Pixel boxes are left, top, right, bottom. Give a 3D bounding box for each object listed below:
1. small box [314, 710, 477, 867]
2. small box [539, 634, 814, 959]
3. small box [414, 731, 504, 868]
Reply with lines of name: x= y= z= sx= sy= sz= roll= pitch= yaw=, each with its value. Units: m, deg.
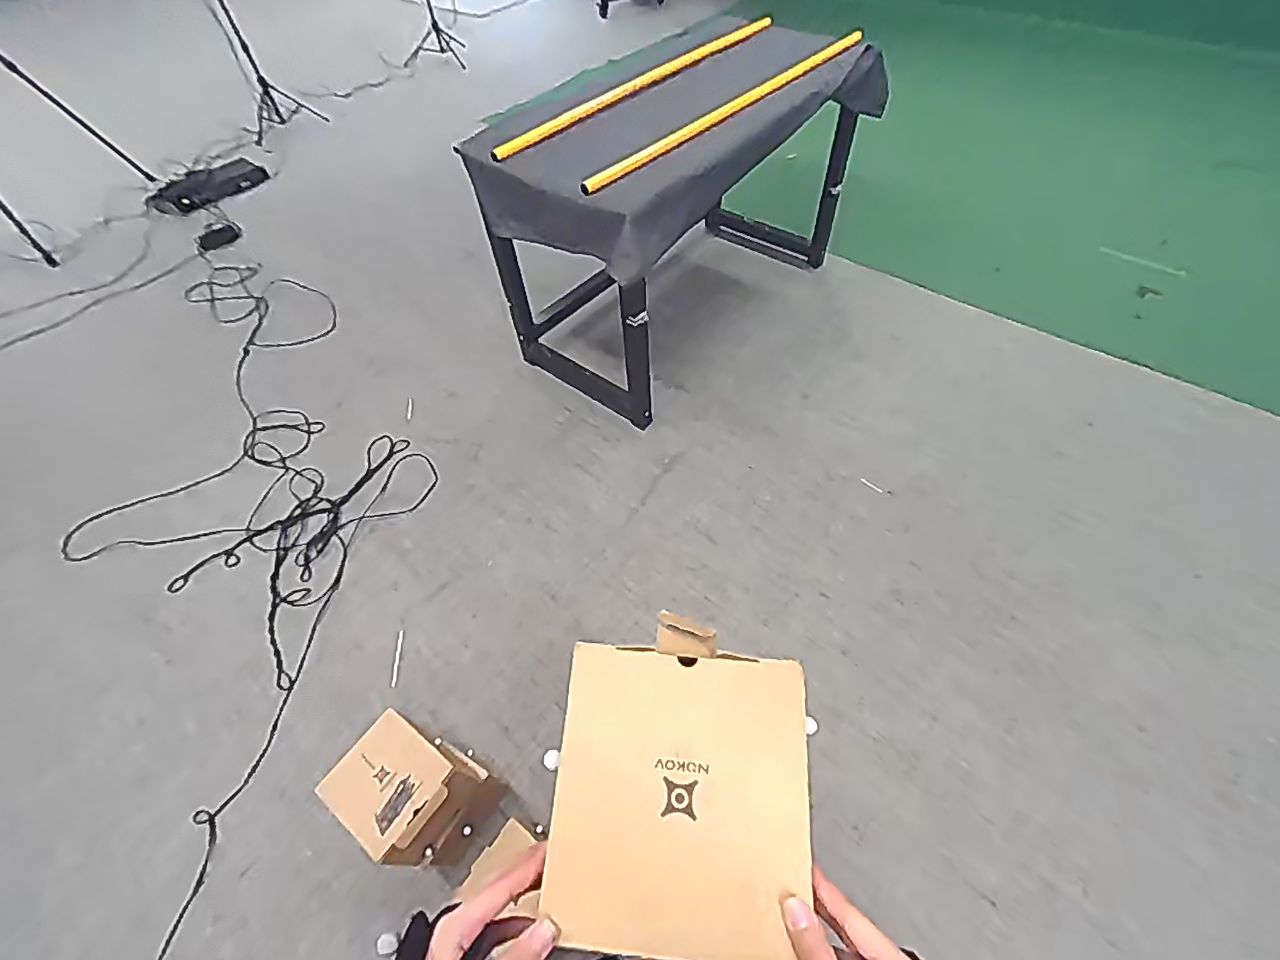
small box: x=-0.422 y=0.550 z=0.965 sx=0.179 sy=0.176 sz=0.168 roll=29 pitch=60 yaw=23
small box: x=0.032 y=0.231 z=0.423 sx=0.168 sy=0.176 sz=0.179 roll=3 pitch=62 yaw=5
small box: x=-0.402 y=0.649 z=1.096 sx=0.168 sy=0.176 sz=0.179 roll=24 pitch=59 yaw=20
